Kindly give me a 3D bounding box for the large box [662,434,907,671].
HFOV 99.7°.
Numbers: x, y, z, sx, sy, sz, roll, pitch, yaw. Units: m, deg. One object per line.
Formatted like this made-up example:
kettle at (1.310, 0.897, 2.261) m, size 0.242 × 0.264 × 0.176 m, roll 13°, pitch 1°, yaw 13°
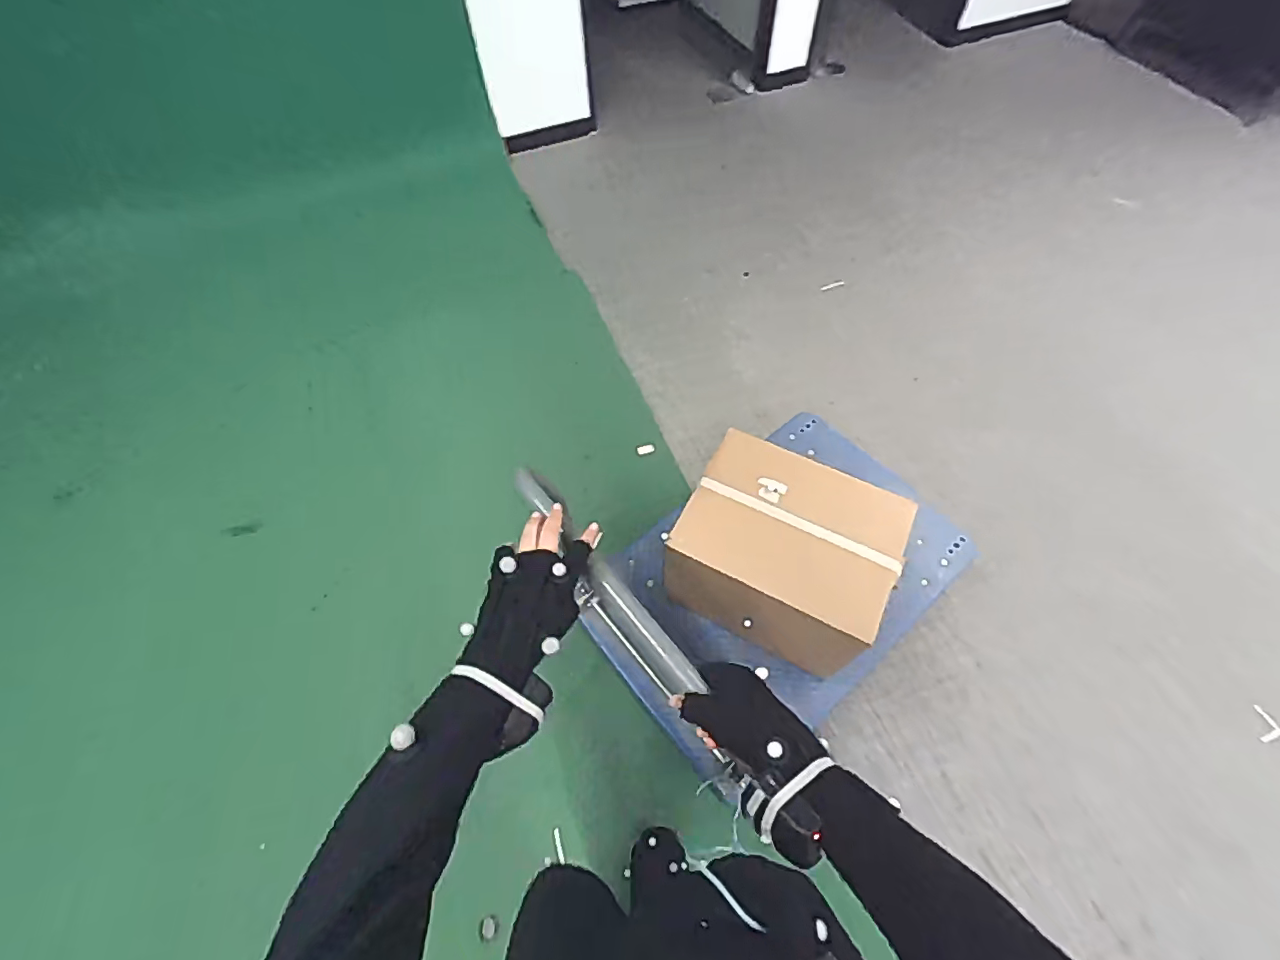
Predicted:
large box at (0.295, 0.164, 1.182) m, size 0.408 × 0.320 × 0.320 m, roll 23°, pitch 62°, yaw 16°
